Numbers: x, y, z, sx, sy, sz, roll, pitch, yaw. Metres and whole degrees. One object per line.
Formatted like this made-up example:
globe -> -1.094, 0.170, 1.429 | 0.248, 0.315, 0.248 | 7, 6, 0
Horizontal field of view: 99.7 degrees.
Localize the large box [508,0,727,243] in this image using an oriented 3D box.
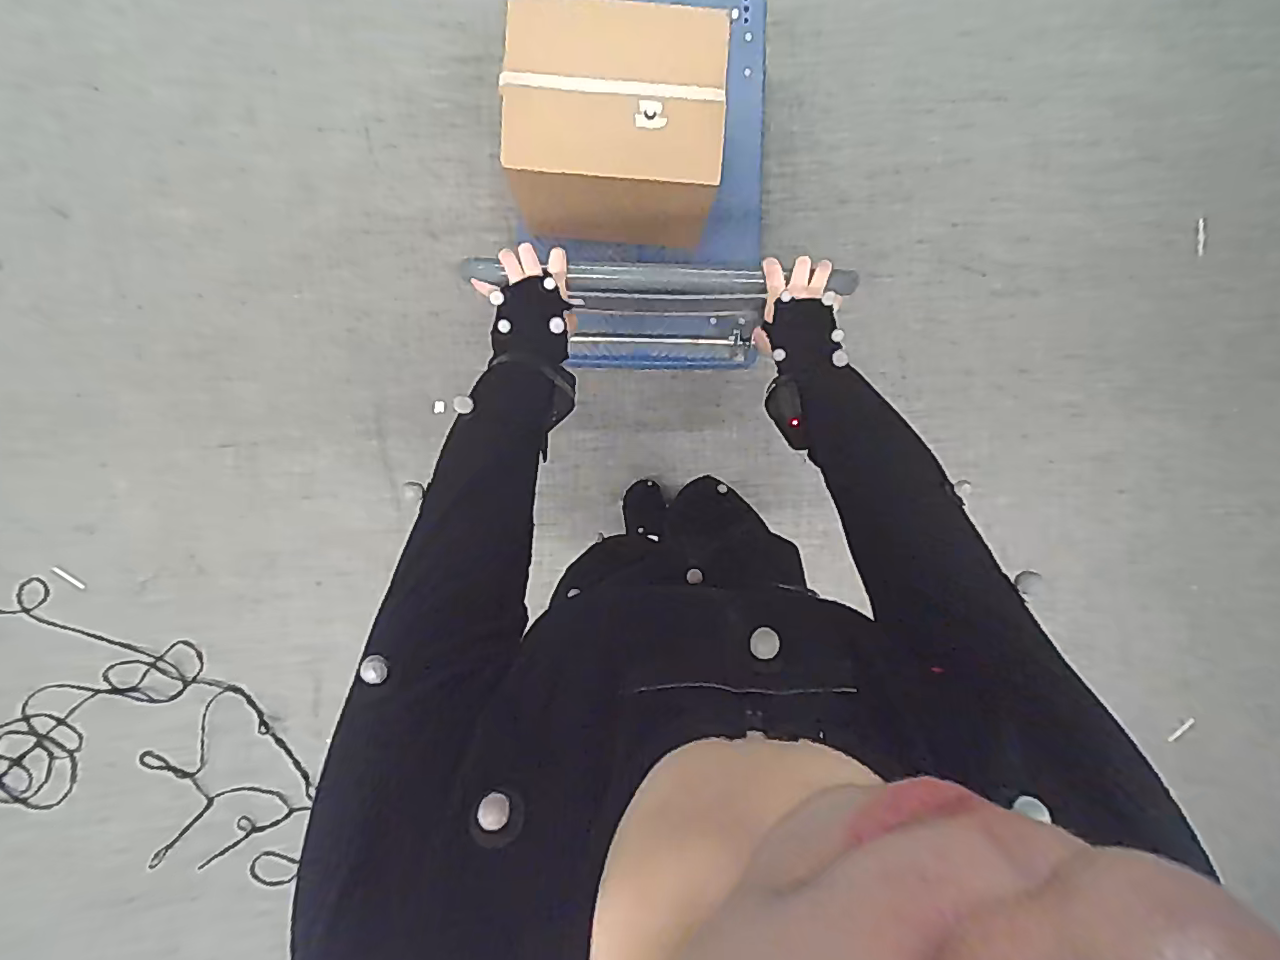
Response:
large box -> -0.051, -0.725, 1.148 | 0.408, 0.320, 0.320 | 3, 92, -3
